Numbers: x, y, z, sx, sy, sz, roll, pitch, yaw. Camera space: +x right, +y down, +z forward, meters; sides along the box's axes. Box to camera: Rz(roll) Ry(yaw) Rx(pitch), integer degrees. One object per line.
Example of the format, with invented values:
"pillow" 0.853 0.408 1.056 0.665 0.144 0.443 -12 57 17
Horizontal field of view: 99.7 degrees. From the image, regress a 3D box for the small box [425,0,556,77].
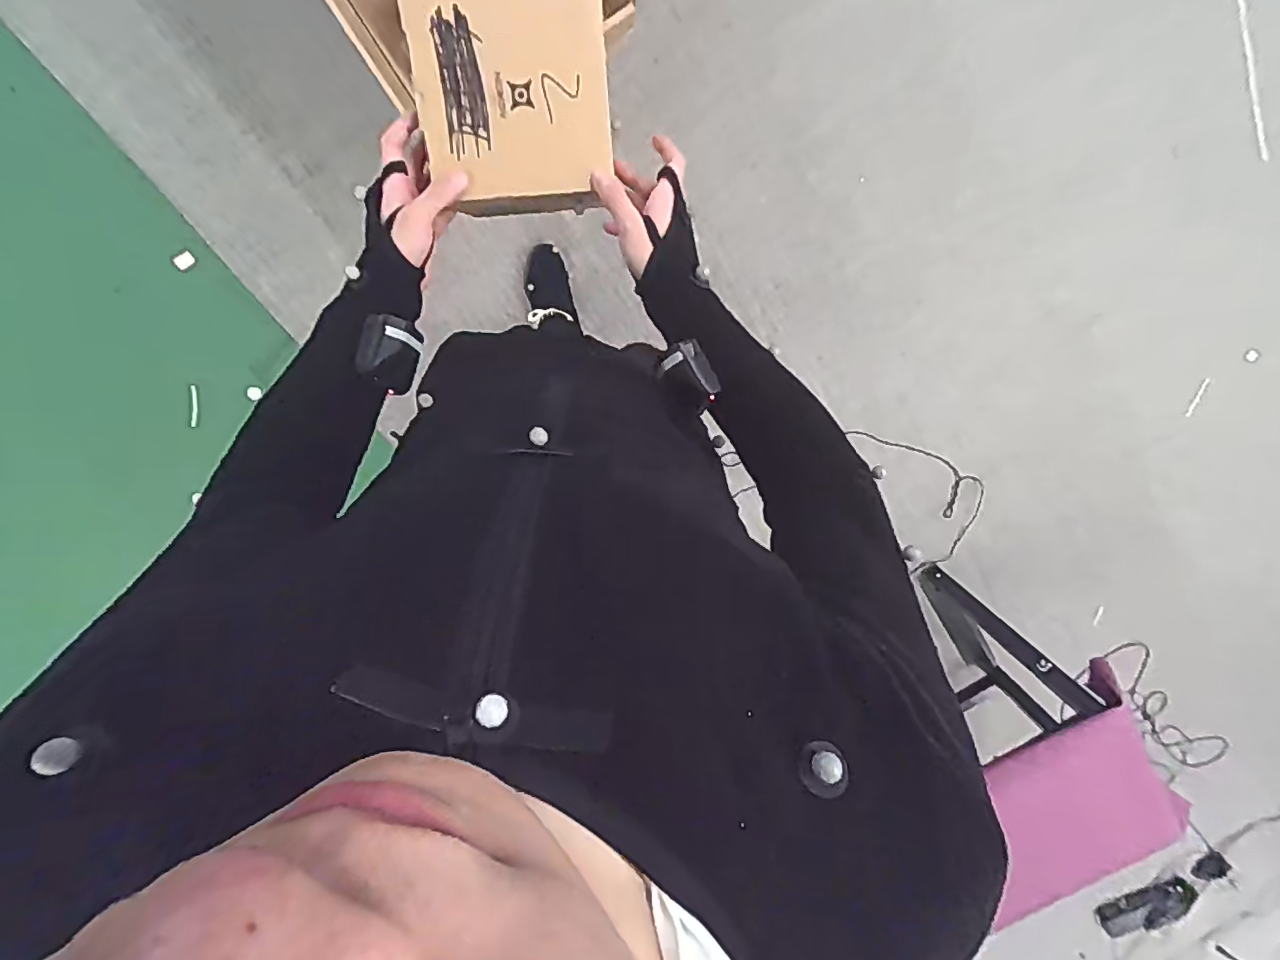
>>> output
"small box" -0.239 -0.758 0.809 0.179 0.176 0.168 -32 111 5
